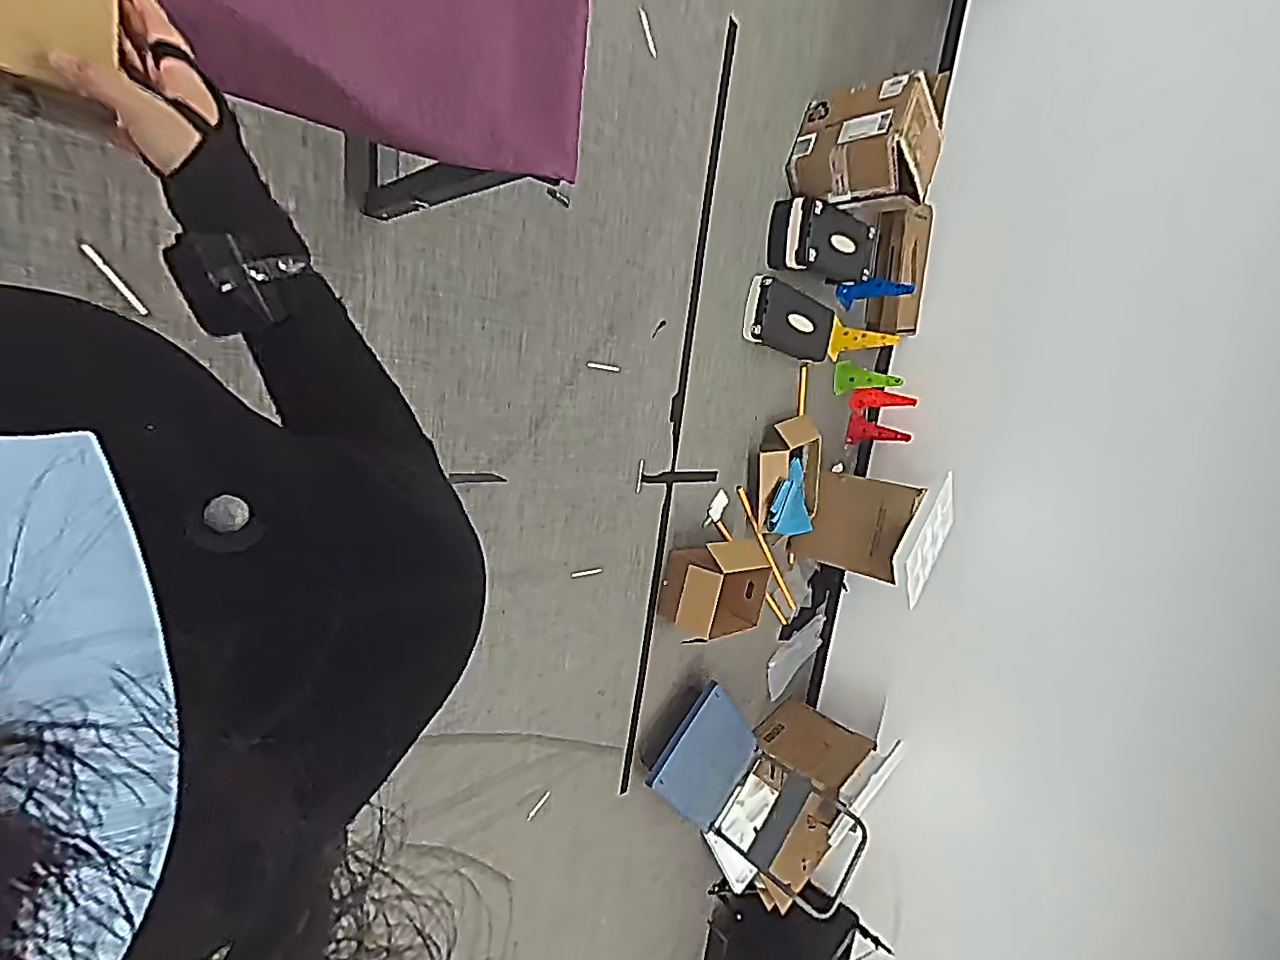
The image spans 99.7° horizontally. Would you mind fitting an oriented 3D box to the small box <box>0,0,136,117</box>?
[{"bbox_3d":[-0.442,-0.359,0.341,0.179,0.176,0.168,0,107,-44],"label":"small box"}]
